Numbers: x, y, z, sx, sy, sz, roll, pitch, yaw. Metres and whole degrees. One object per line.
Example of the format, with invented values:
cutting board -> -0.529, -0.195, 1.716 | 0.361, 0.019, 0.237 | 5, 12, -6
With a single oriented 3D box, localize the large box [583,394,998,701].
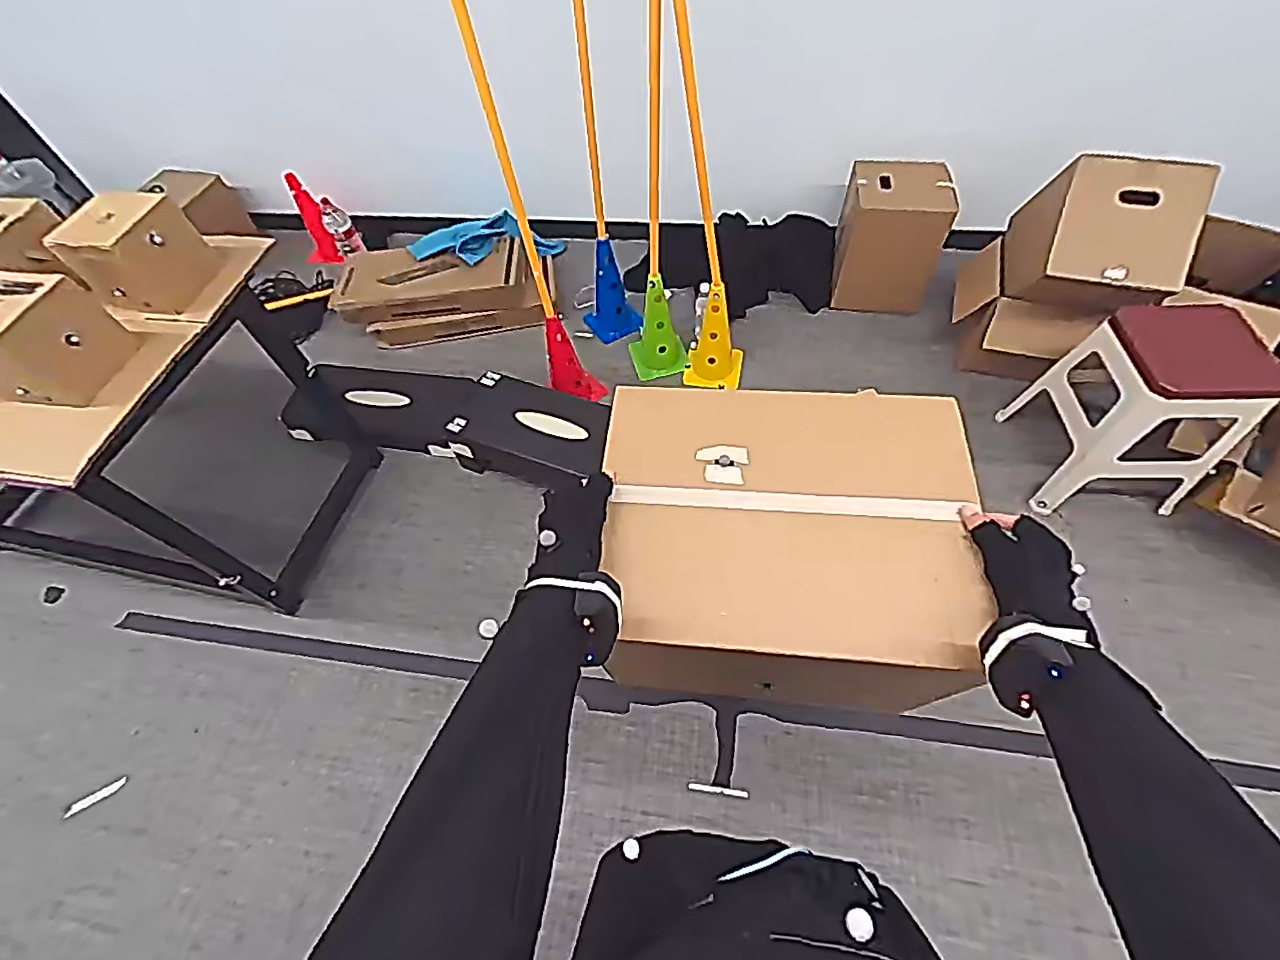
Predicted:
large box -> 0.169, 0.102, 0.725 | 0.408, 0.320, 0.320 | 3, 61, 8
